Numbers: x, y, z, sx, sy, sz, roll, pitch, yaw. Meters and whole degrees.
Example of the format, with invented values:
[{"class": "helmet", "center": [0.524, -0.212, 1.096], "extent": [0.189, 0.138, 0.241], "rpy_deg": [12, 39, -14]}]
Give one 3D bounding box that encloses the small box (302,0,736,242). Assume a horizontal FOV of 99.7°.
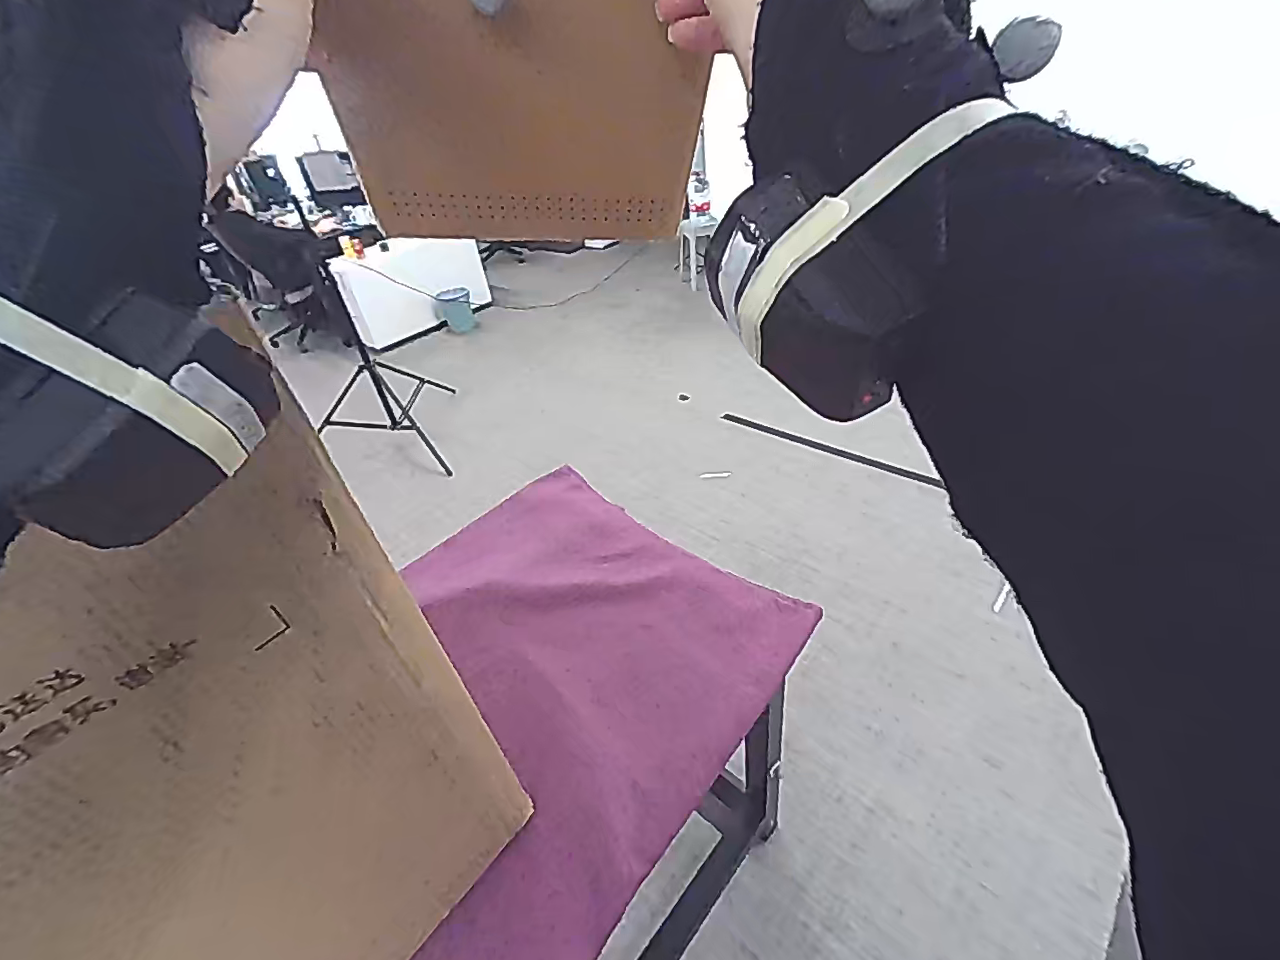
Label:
[{"class": "small box", "center": [-0.055, -0.248, 0.283], "extent": [0.179, 0.176, 0.168], "rpy_deg": [-2, 67, -6]}]
